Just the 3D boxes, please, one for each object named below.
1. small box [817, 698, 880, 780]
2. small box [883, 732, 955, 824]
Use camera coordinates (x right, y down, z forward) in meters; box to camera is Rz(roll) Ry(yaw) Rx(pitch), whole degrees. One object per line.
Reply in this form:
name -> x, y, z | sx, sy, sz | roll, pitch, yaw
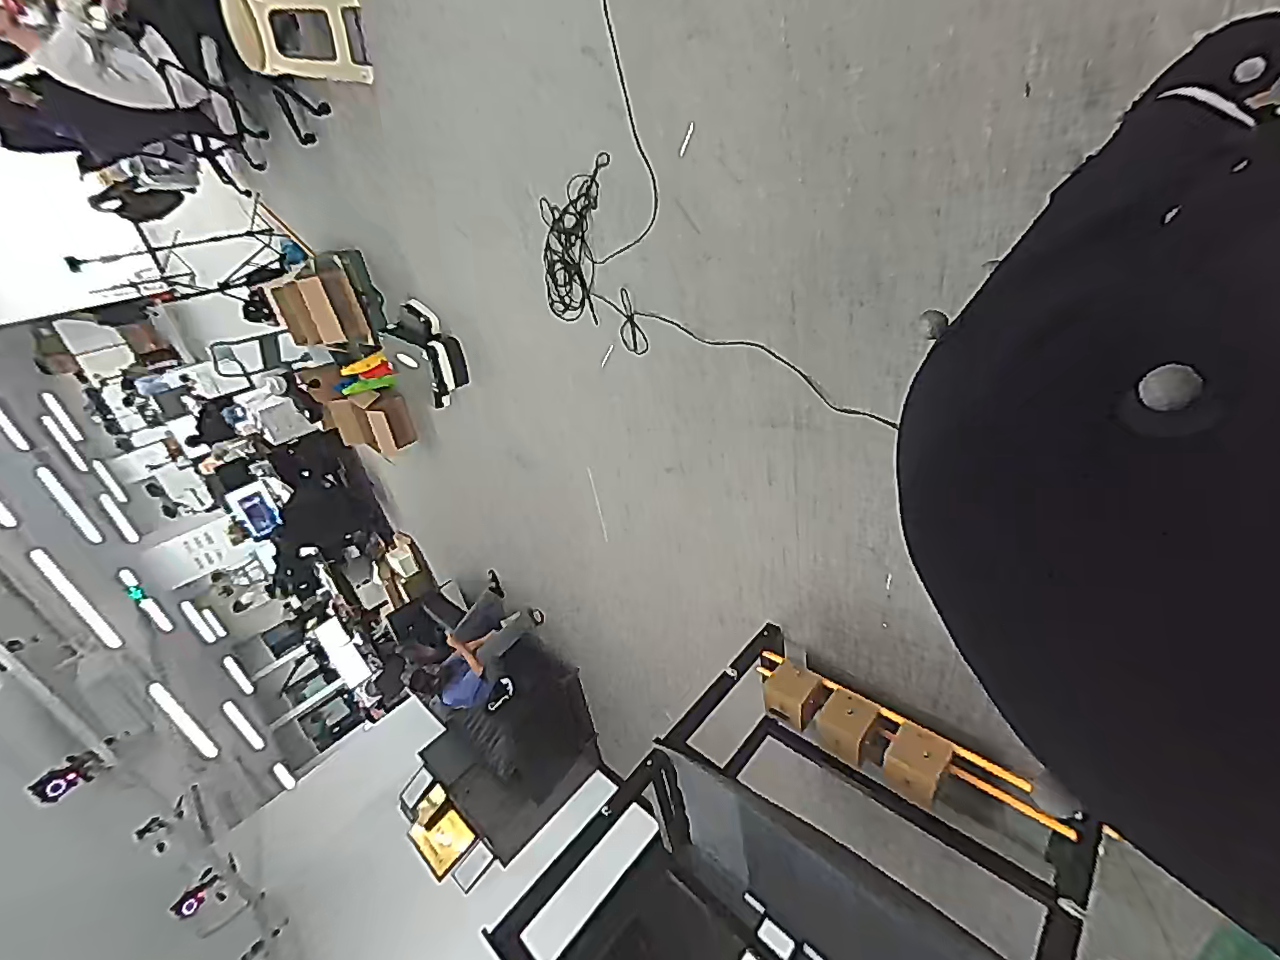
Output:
small box -> 0.772, 0.950, 1.999 | 0.168, 0.176, 0.179 | 17, 128, 42
small box -> 0.948, 1.001, 1.834 | 0.168, 0.176, 0.179 | 19, 128, 42
